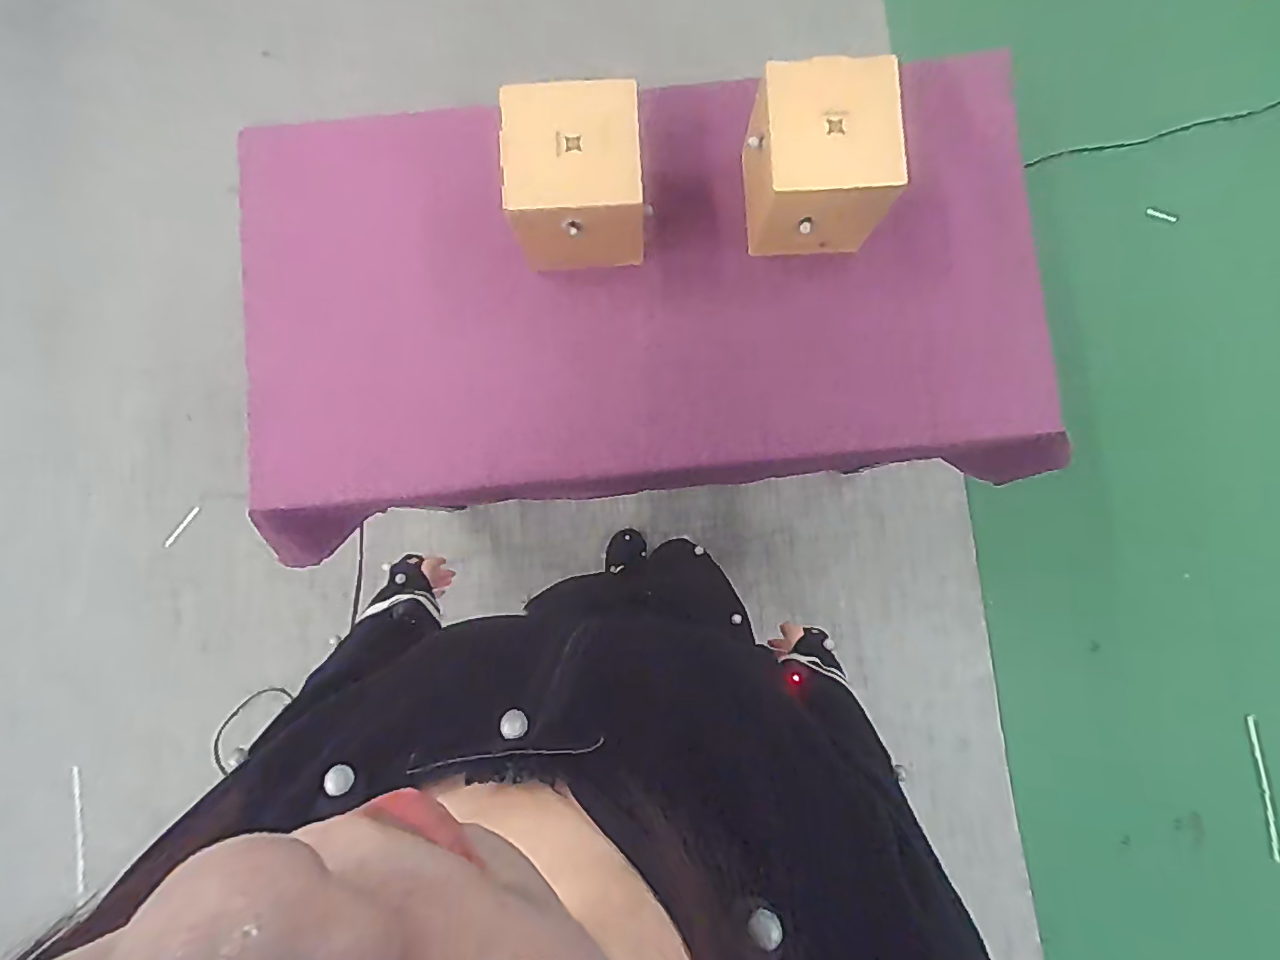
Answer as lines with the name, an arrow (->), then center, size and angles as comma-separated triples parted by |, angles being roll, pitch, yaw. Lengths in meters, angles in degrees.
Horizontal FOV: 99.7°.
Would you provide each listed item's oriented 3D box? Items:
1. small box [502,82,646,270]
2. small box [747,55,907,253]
small box -> -0.082, -0.408, 0.752 | 0.179, 0.176, 0.168 | -2, 86, 1
small box -> 0.245, -0.431, 0.746 | 0.168, 0.176, 0.179 | -2, 84, 2
